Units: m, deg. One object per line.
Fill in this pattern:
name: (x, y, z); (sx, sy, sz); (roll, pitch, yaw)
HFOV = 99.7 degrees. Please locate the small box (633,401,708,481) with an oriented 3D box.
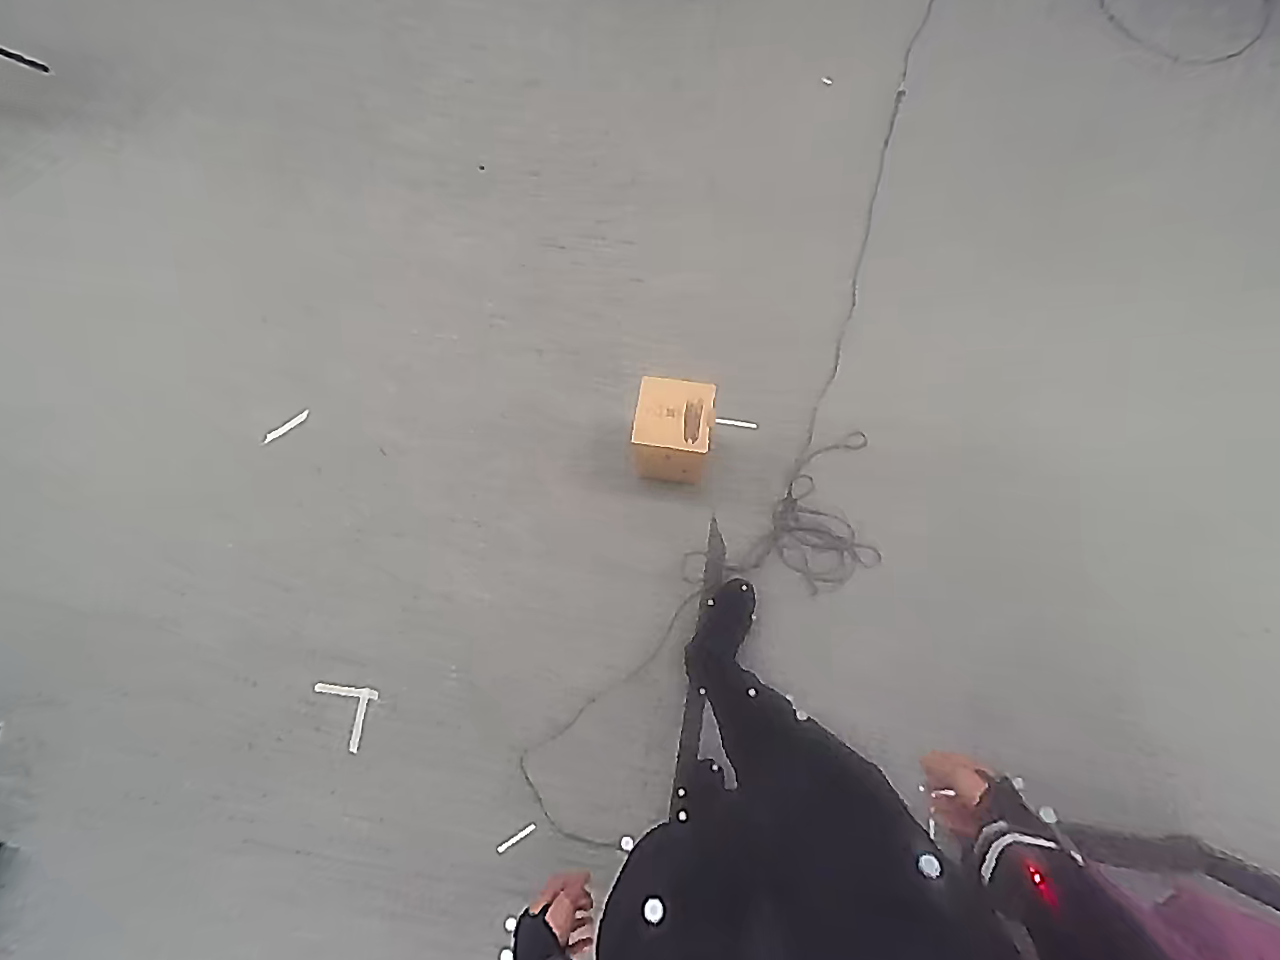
small box: (0.082, -0.099, 1.447); (0.179, 0.176, 0.168); (6, 78, 5)
